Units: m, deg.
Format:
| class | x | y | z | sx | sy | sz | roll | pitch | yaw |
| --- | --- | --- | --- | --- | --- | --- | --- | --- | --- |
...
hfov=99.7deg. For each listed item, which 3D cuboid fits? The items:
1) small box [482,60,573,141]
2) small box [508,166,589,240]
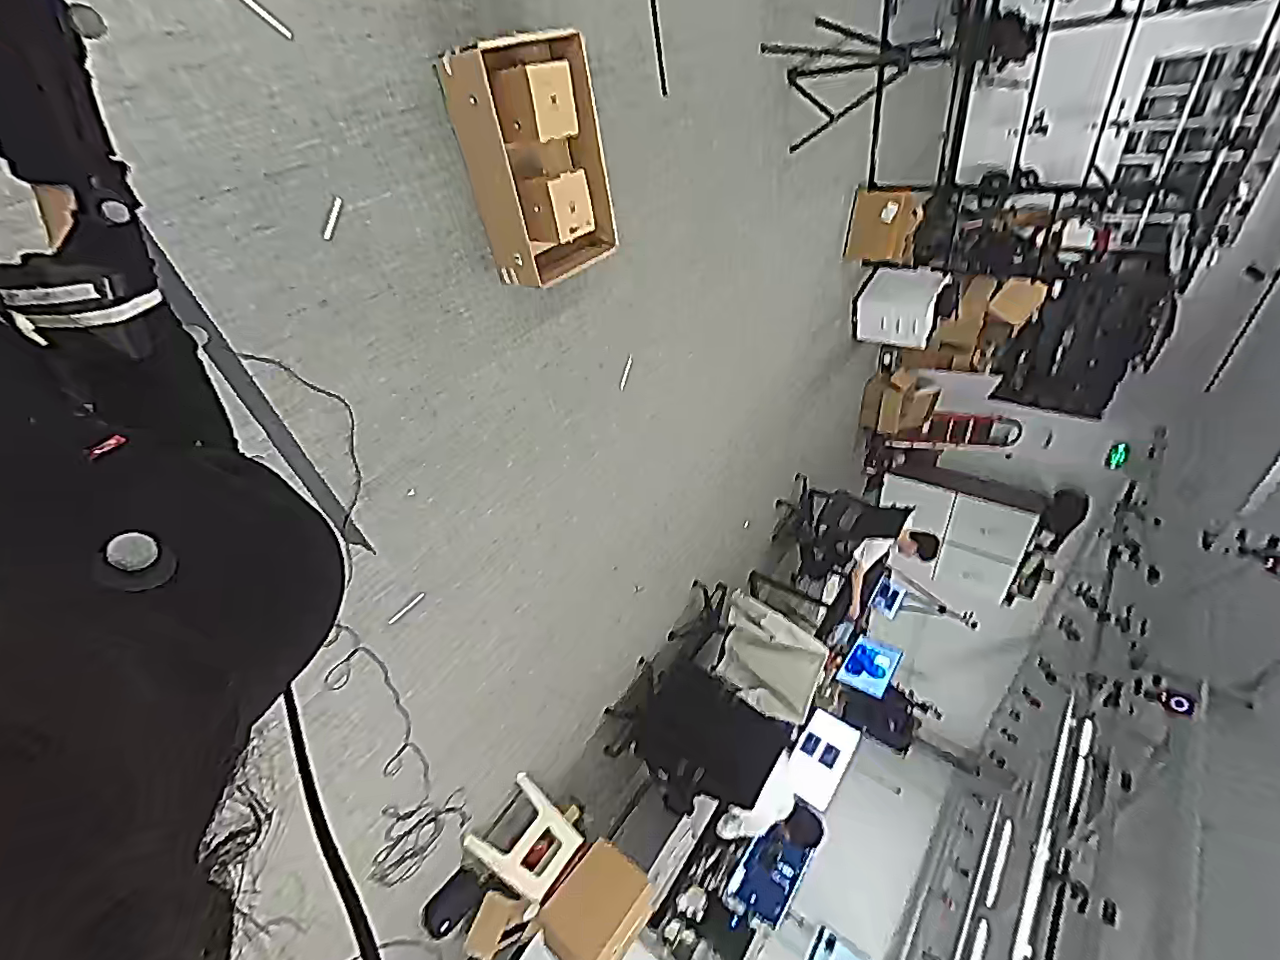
| class | x | y | z | sx | sy | sz | roll | pitch | yaw |
| --- | --- | --- | --- | --- | --- | --- | --- | --- | --- |
| small box | -0.321 | -1.087 | 1.551 | 0.168 | 0.176 | 0.179 | -42 | 138 | -37 |
| small box | -0.291 | -0.874 | 1.712 | 0.168 | 0.176 | 0.179 | -42 | 136 | -34 |
